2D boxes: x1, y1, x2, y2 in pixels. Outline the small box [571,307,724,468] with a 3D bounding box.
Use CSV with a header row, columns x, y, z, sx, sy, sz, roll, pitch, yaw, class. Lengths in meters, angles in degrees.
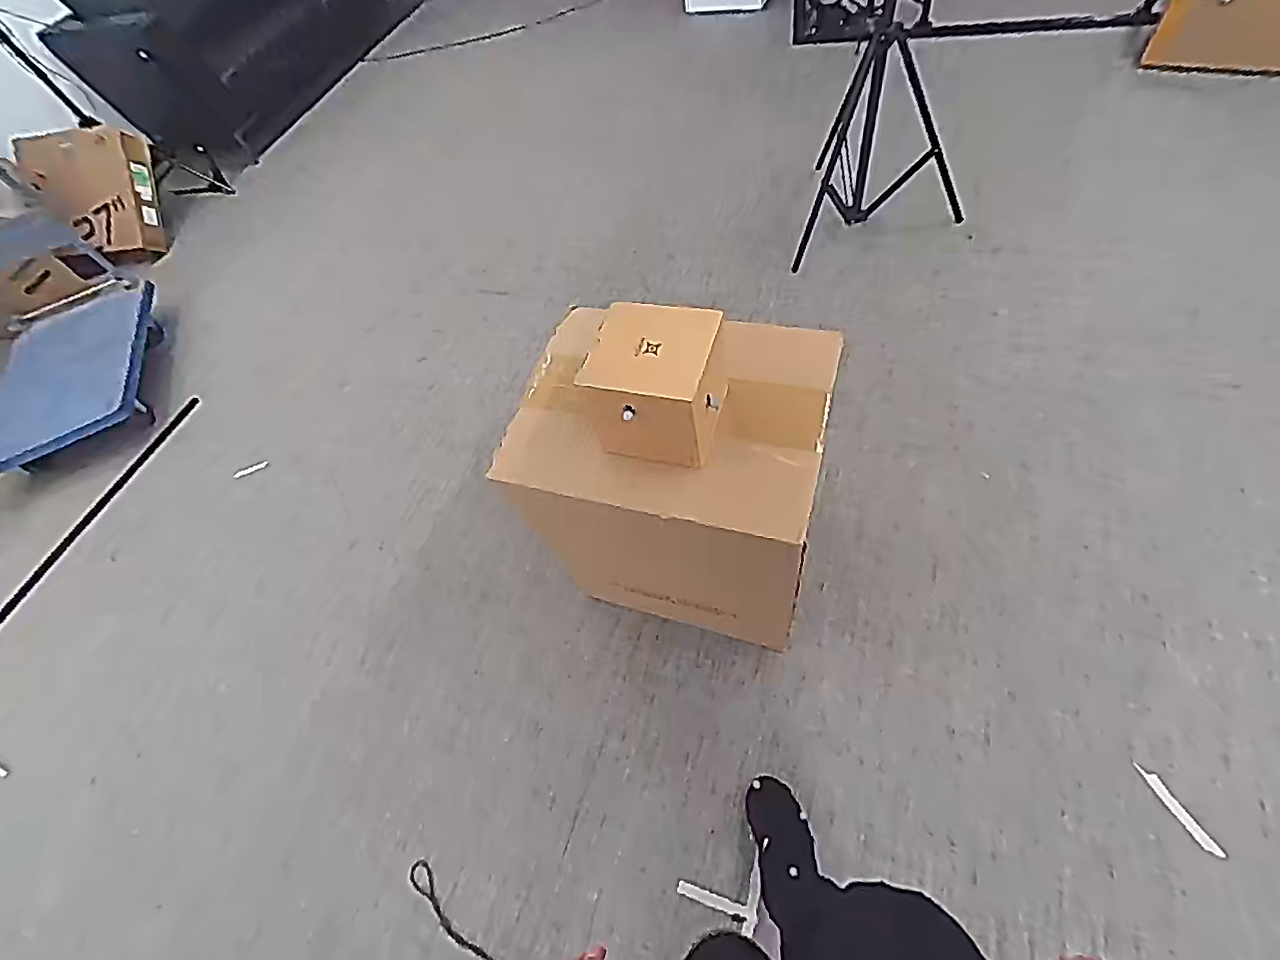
x,y,z,sx,sy,sz,roll,pitch,yaw,class
0.024,-0.135,0.821,0.179,0.176,0.168,11,63,19,small box
